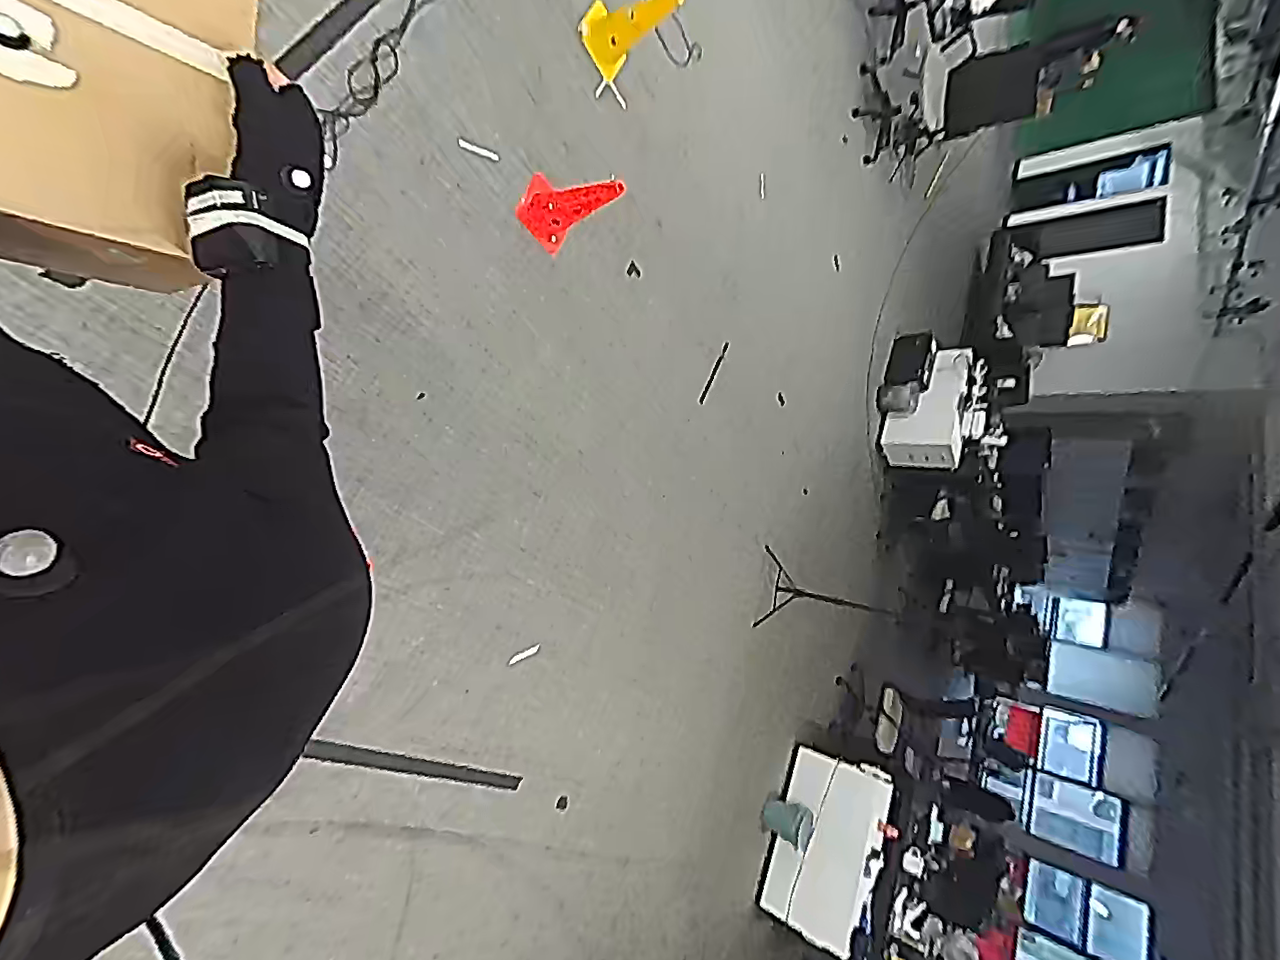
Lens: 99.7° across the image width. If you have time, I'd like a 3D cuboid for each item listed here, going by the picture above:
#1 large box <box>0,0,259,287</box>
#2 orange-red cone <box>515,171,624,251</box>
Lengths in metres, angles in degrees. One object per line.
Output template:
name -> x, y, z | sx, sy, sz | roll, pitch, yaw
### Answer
large box -> -0.574, -0.364, 0.405 | 0.408, 0.320, 0.320 | 2, 98, -51
orange-red cone -> -0.198, -0.910, 1.745 | 0.198, 0.360, 0.199 | 41, 62, -45
